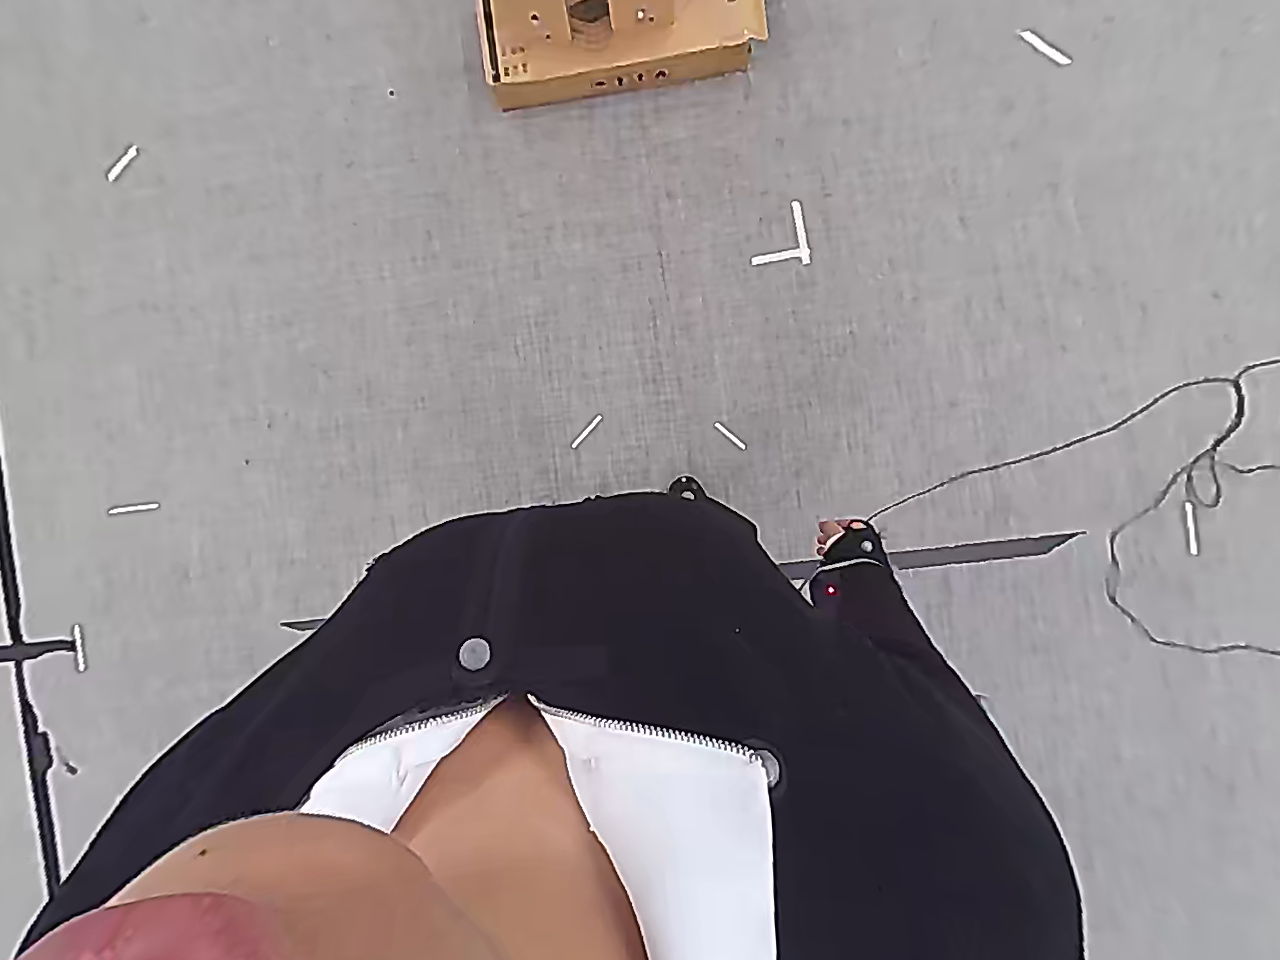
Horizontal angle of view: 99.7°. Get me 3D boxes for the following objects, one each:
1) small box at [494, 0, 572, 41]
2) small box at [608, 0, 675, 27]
[{"bbox_3d":[-0.267,-1.225,1.326,0.168,0.176,0.179,-6,90,3],"label":"small box"},{"bbox_3d":[-0.001,-1.259,1.313,0.168,0.176,0.179,-4,90,4],"label":"small box"}]
